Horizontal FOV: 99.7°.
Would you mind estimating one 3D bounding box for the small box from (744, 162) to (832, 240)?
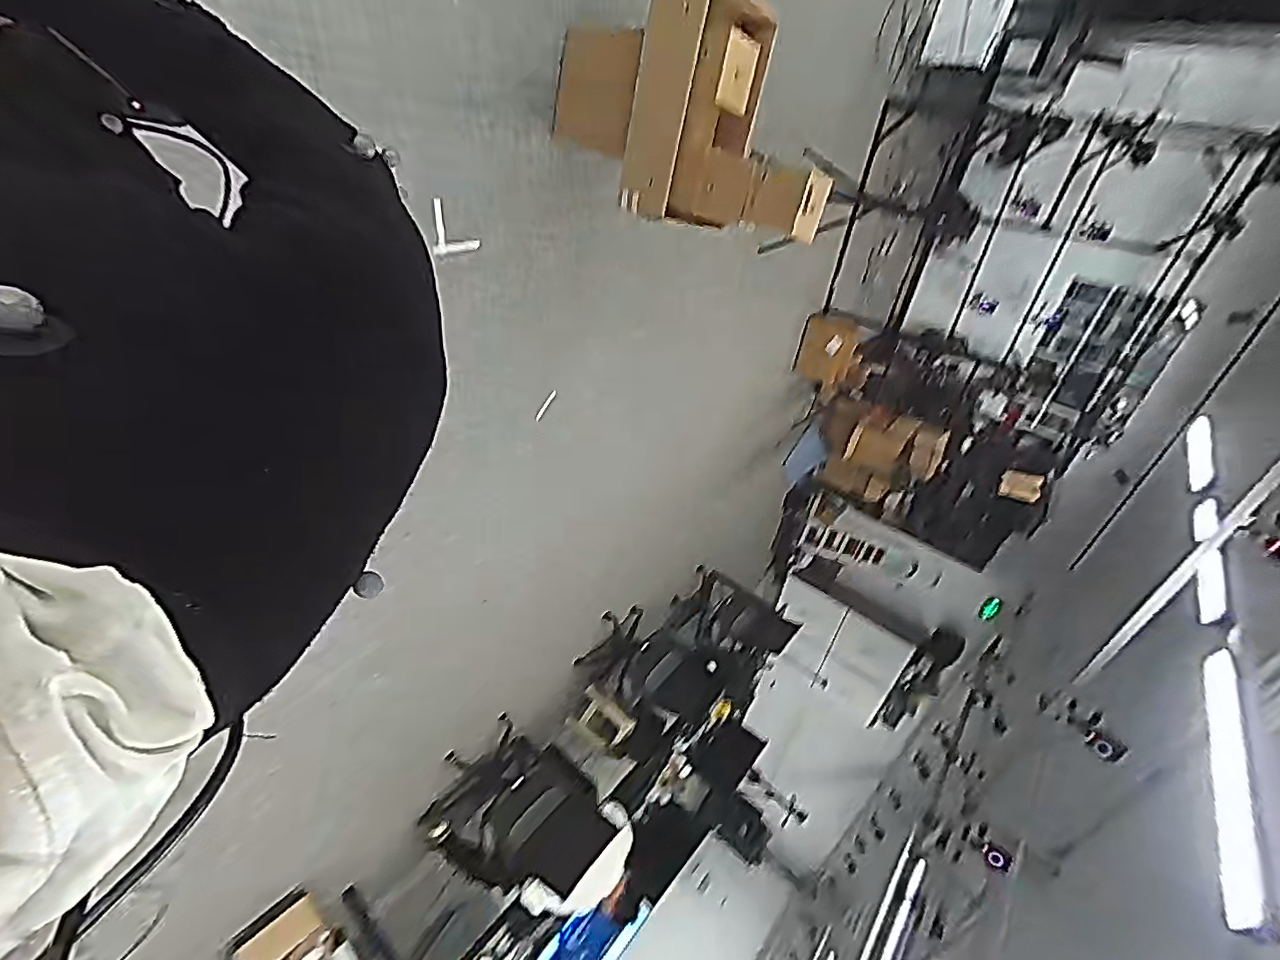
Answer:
[{"bbox_3d":[0.428,-0.813,1.576,0.179,0.176,0.168,-21,133,-50],"label":"small box"}]

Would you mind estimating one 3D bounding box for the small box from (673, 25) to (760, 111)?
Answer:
[{"bbox_3d":[0.218,-1.202,1.581,0.179,0.176,0.168,-25,136,-48],"label":"small box"}]

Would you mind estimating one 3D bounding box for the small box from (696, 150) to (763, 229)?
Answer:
[{"bbox_3d":[0.292,-0.880,1.643,0.168,0.176,0.179,-25,137,-47],"label":"small box"}]
